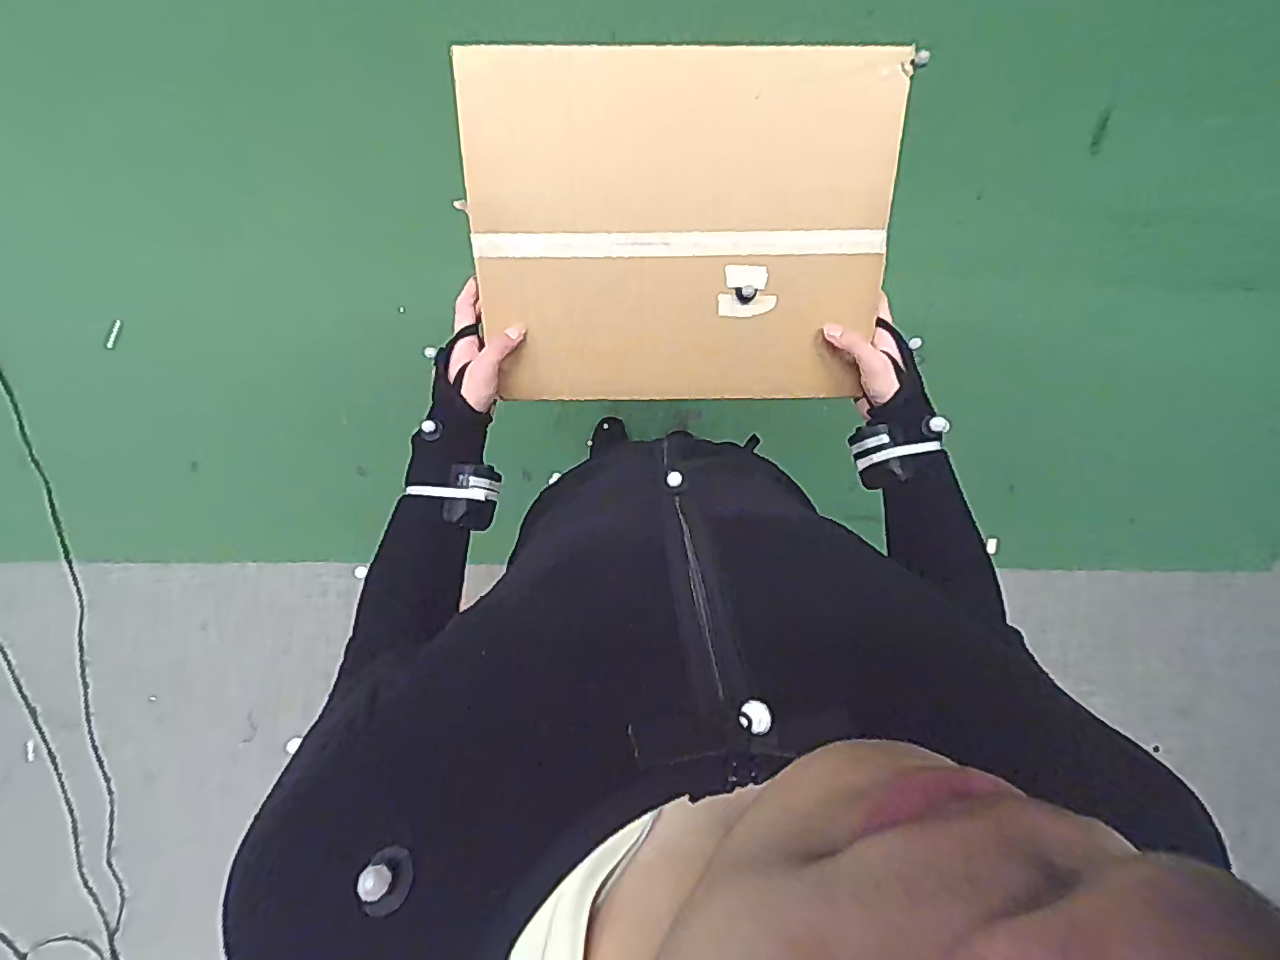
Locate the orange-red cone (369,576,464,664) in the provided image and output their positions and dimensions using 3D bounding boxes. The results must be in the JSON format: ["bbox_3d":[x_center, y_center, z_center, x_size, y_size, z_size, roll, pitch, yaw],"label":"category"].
[{"bbox_3d":[-0.651,0.419,1.502,0.199,0.360,0.198,8,96,-1],"label":"orange-red cone"}]

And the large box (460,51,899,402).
[{"bbox_3d":[0.034,-0.291,0.675,0.408,0.320,0.320,-2,113,-1],"label":"large box"}]
